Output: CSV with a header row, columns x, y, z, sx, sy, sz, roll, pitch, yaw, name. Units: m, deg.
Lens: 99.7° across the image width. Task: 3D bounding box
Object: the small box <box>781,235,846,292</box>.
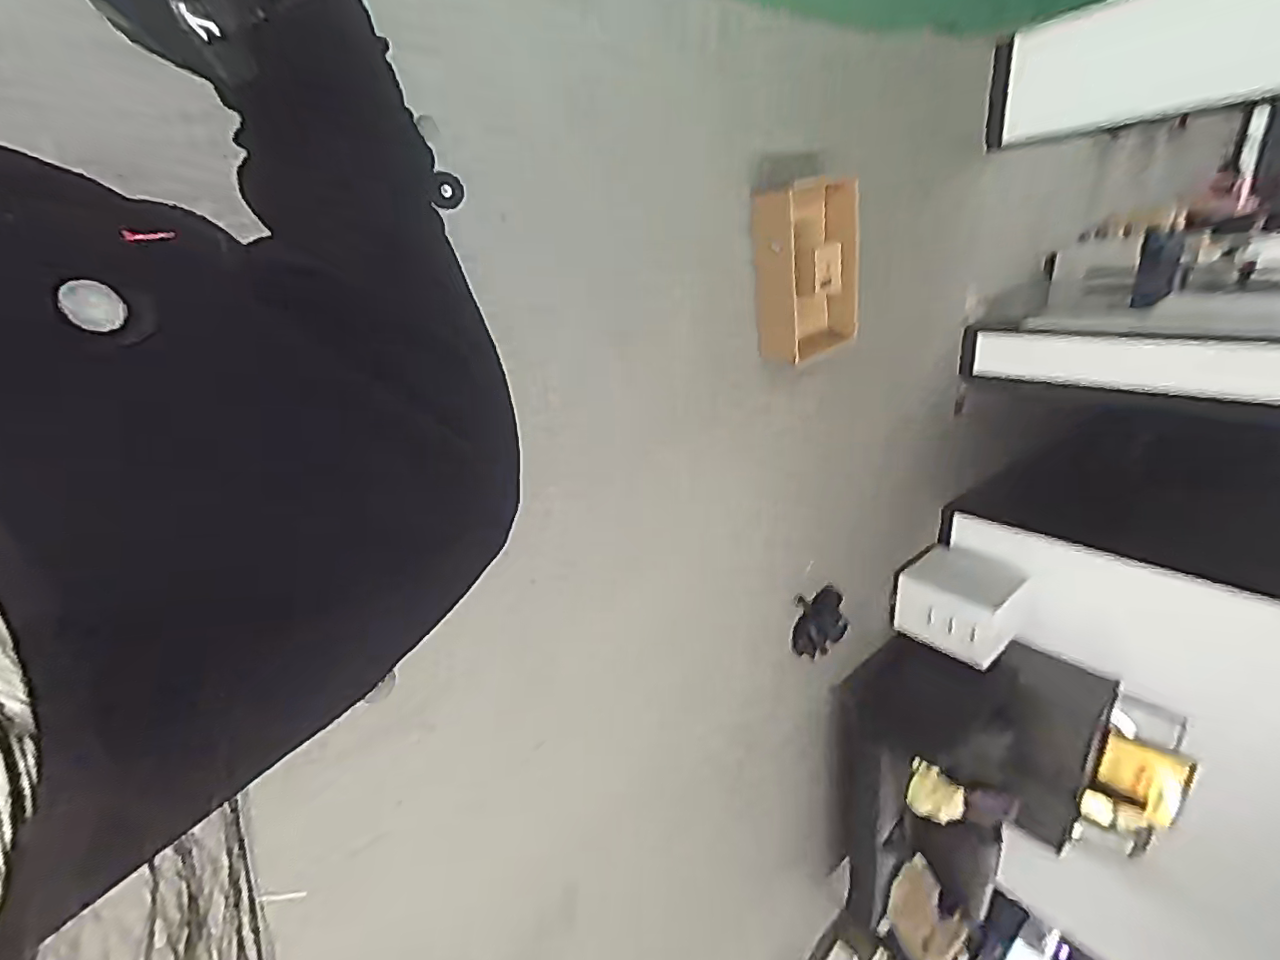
x,y,z,sx,sy,sz,roll,pitch,yaw,name
0.644,-0.803,2.010,0.168,0.176,0.179,-25,118,-31,small box
